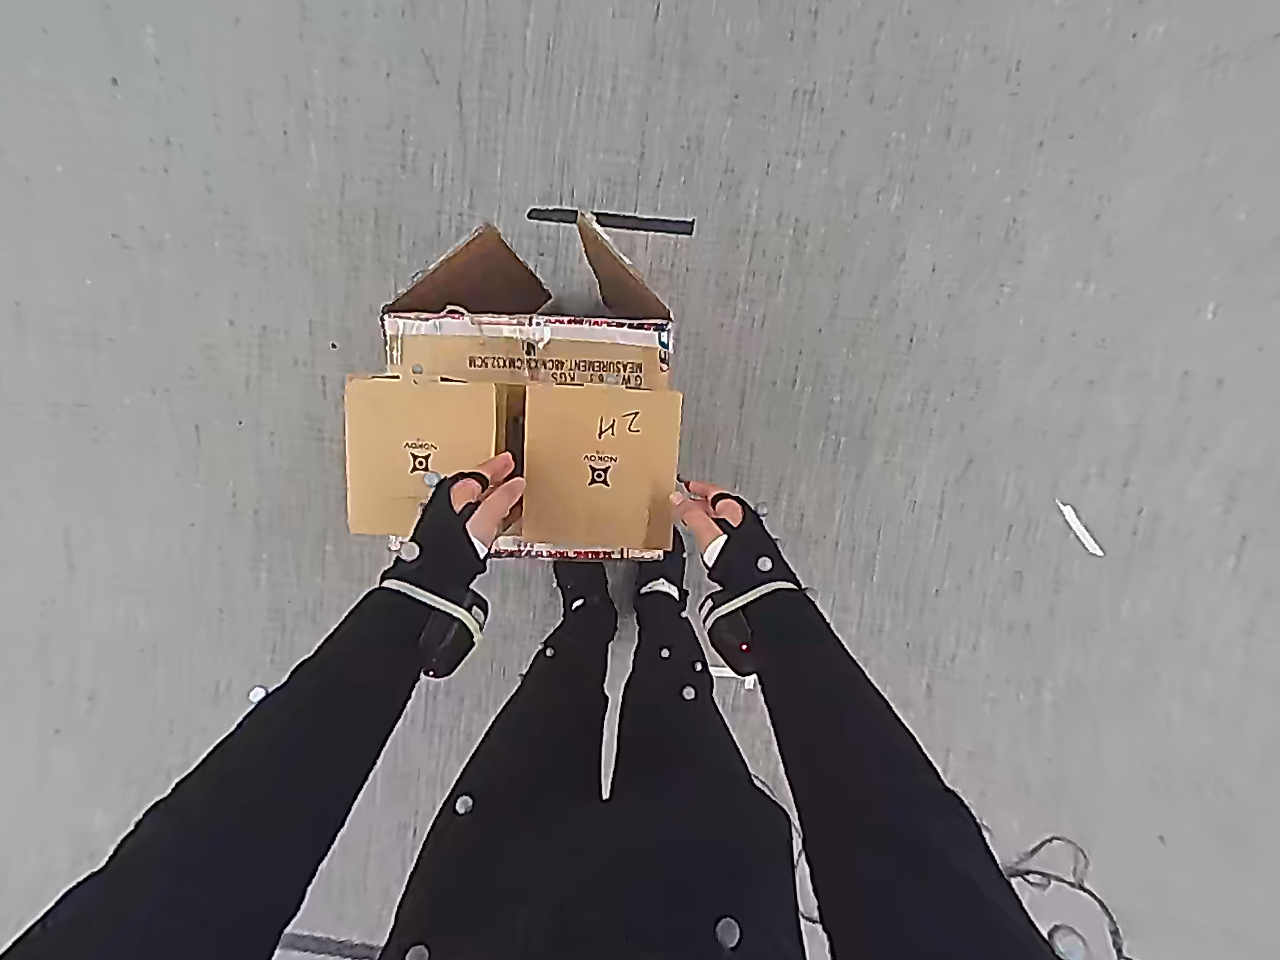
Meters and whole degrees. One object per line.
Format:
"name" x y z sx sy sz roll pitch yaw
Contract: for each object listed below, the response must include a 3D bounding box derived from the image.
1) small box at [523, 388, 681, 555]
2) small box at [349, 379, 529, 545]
"small box" -0.042 -0.019 0.663 0.168 0.176 0.179 3 98 -1
"small box" -0.230 -0.030 0.665 0.168 0.176 0.179 3 100 3
